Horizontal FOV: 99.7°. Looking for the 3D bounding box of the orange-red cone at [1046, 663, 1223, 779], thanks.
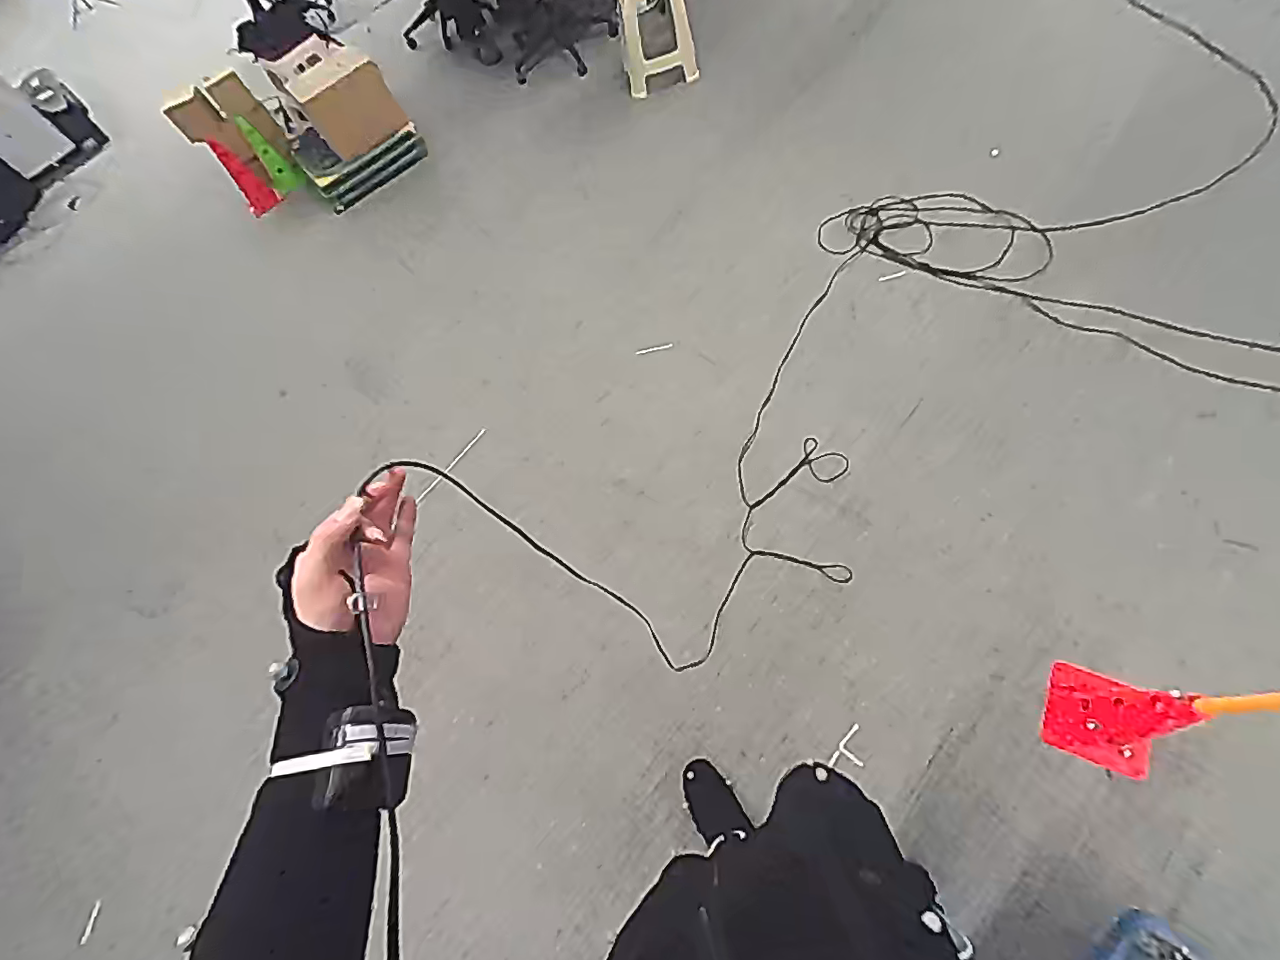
[{"bbox_3d":[1.015,0.464,1.082,0.198,0.360,0.199,19,69,21],"label":"orange-red cone"}]
